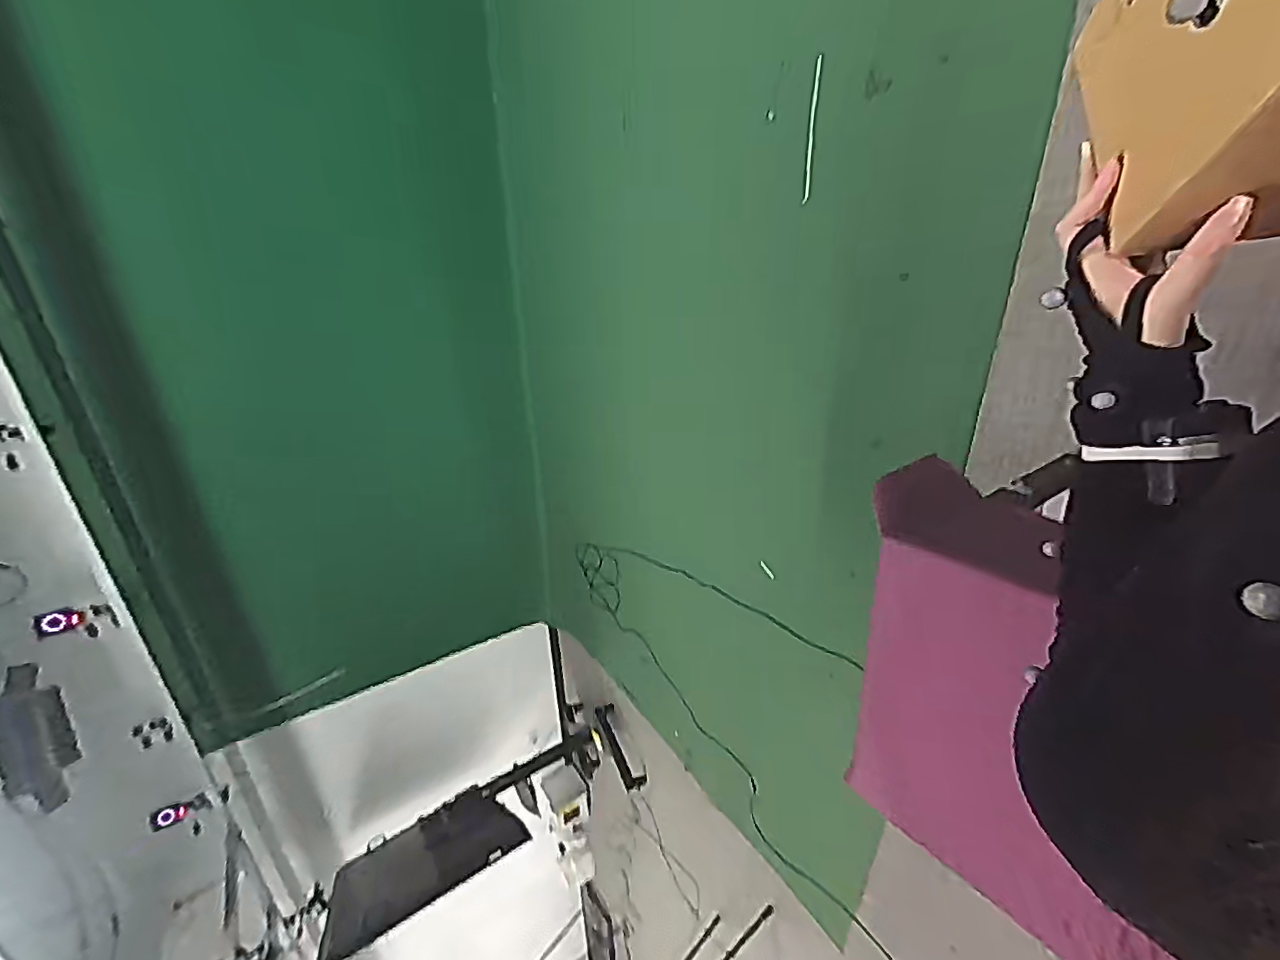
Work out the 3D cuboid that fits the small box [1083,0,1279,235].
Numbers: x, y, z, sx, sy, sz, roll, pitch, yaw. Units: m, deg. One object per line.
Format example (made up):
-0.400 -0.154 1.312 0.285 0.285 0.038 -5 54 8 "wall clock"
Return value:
0.372 -0.259 0.273 0.168 0.179 0.176 45 -136 -72 "small box"
